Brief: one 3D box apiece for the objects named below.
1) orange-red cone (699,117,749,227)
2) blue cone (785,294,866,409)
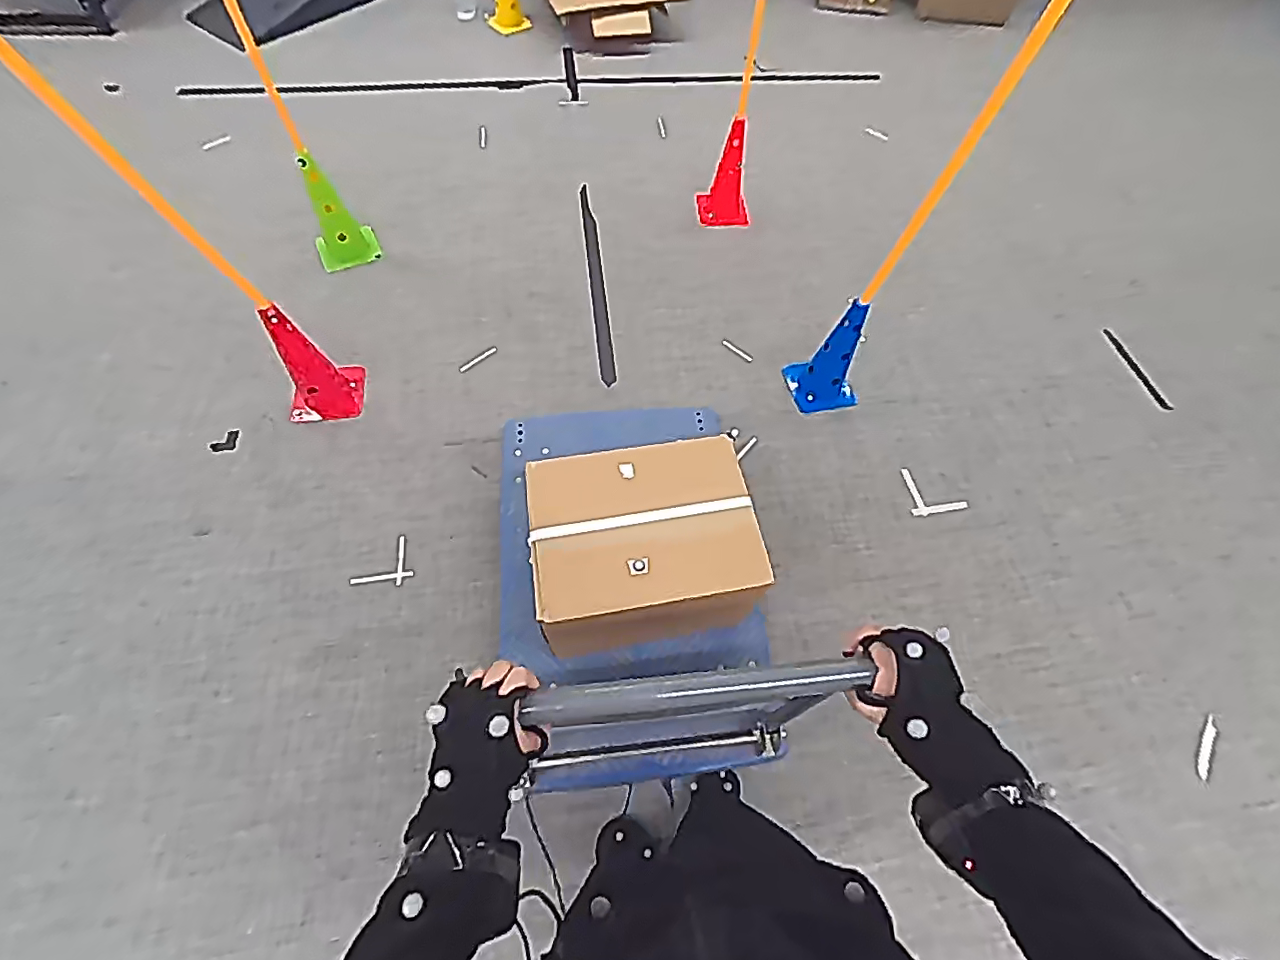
[{"bbox_3d":[0.350,-1.174,2.041,0.199,0.360,0.198,1,62,-4],"label":"orange-red cone"},{"bbox_3d":[0.598,-0.396,1.639,0.193,0.380,0.192,-9,61,-8],"label":"blue cone"}]
